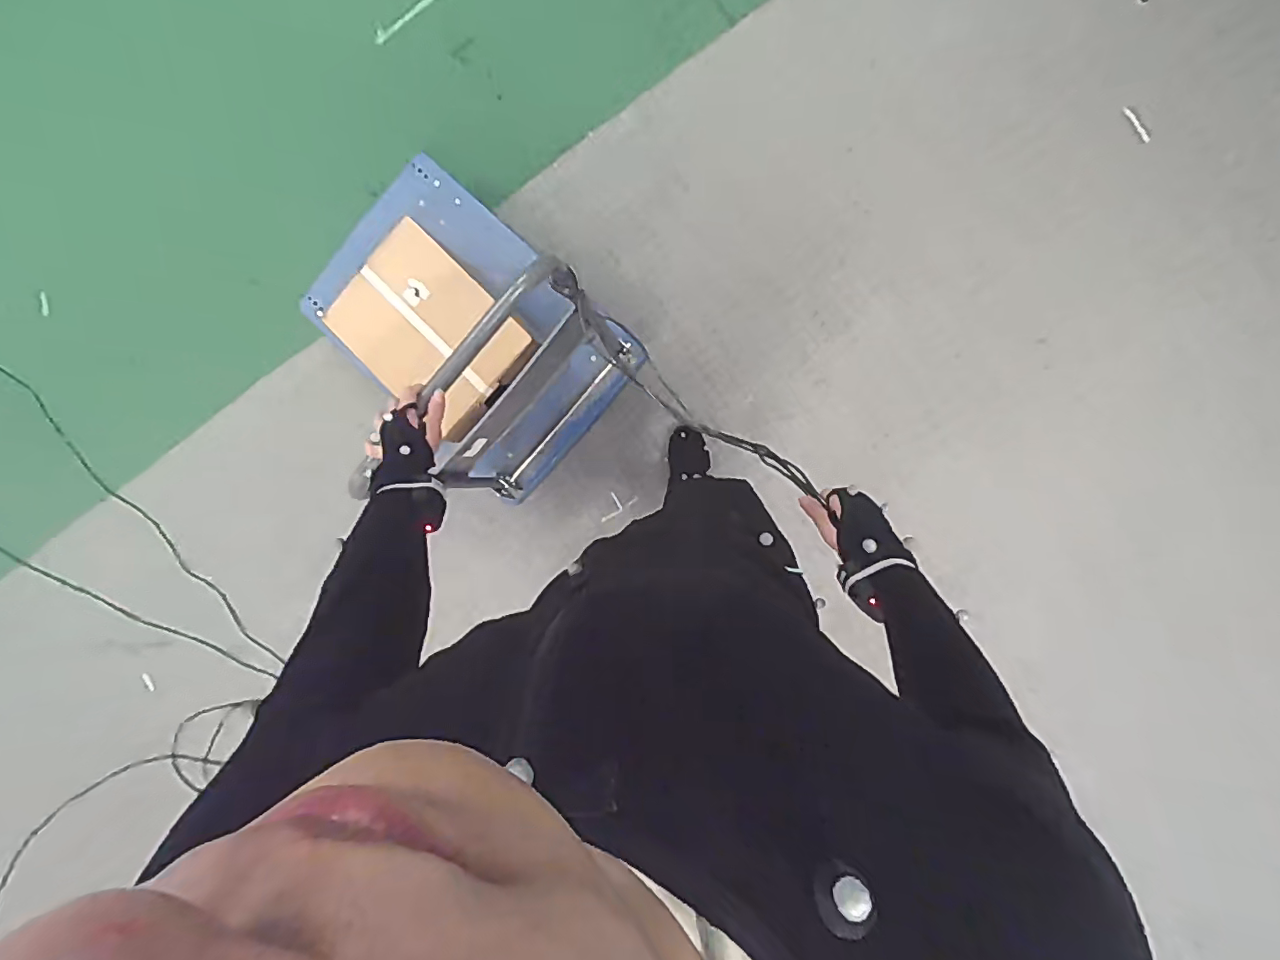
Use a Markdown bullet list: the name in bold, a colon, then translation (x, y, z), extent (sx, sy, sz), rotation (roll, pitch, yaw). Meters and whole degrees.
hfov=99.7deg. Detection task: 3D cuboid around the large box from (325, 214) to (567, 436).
- **large box**: translation (-0.456, -0.354, 1.348), extent (0.408, 0.320, 0.320), rotation (45, 97, 4)
